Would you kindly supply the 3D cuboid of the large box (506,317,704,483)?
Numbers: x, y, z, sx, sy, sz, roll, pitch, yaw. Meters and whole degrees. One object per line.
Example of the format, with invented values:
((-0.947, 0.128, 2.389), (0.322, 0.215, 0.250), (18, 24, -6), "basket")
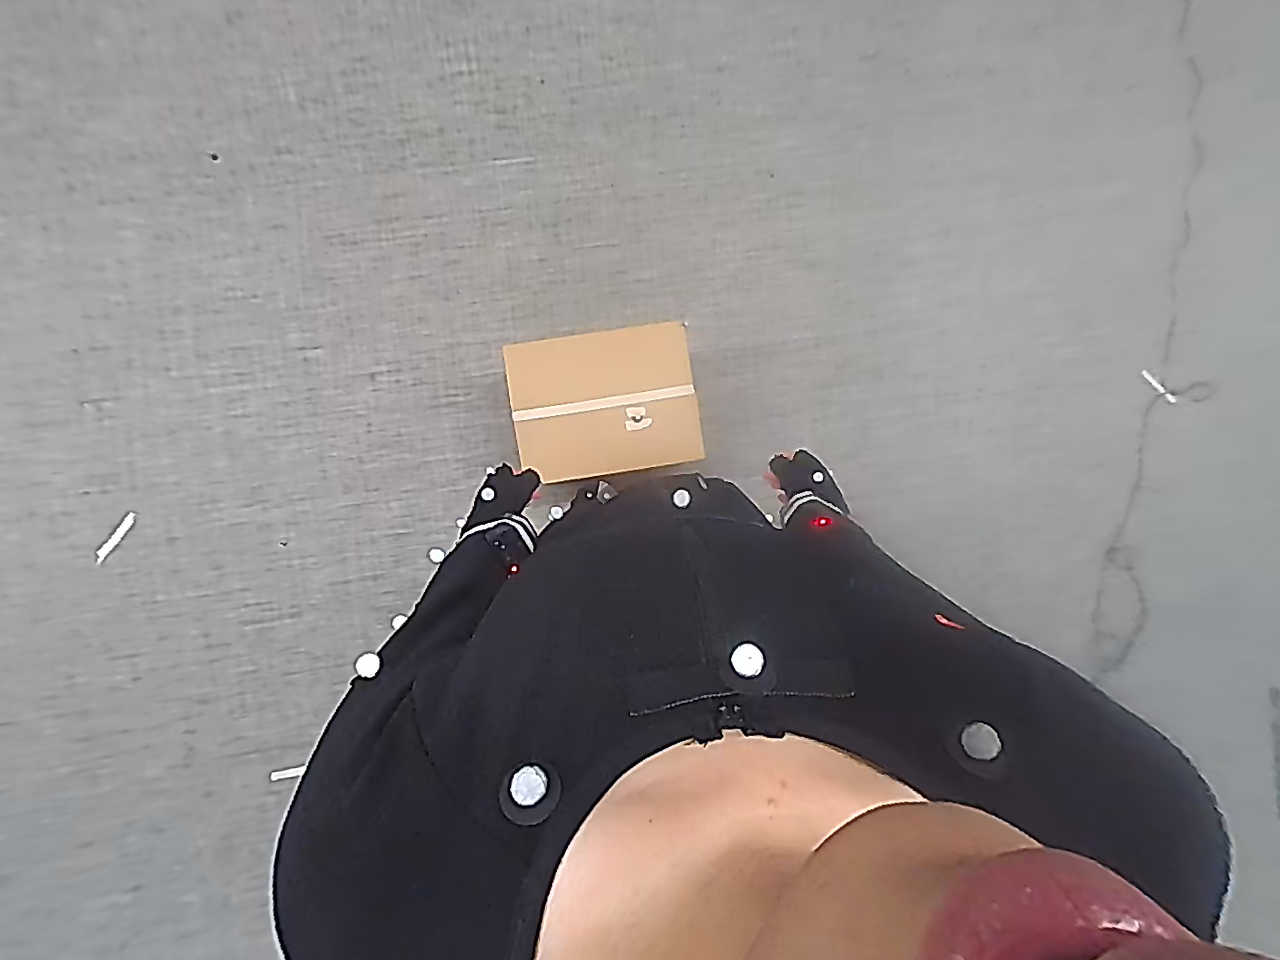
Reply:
((-0.085, -0.178, 1.341), (0.408, 0.320, 0.320), (-9, 92, -4), "large box")
